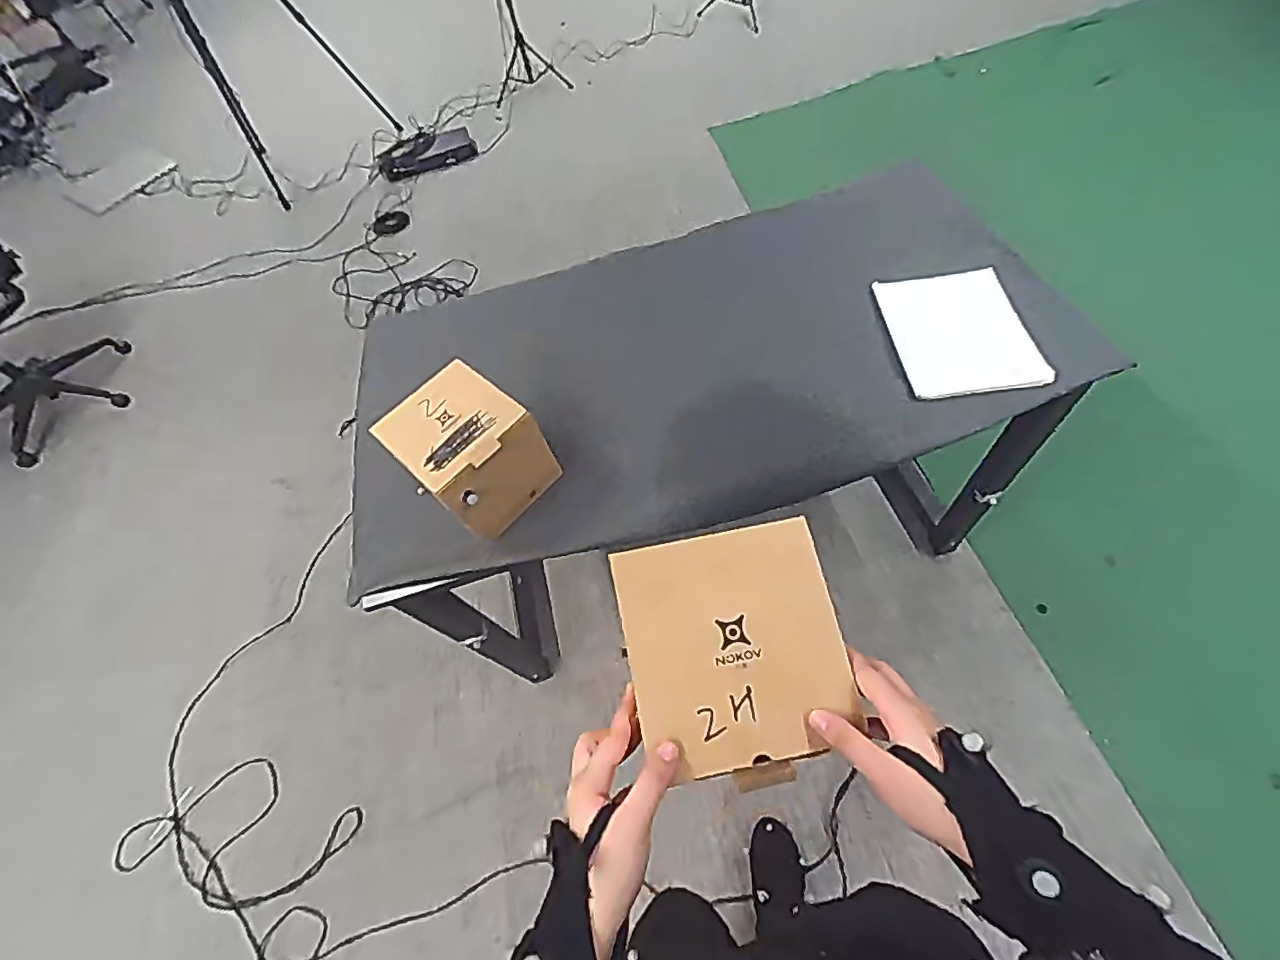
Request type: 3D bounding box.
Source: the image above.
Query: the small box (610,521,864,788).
[{"bbox_3d":[0.070,0.153,0.491,0.168,0.176,0.179,-11,71,-2],"label":"small box"}]
